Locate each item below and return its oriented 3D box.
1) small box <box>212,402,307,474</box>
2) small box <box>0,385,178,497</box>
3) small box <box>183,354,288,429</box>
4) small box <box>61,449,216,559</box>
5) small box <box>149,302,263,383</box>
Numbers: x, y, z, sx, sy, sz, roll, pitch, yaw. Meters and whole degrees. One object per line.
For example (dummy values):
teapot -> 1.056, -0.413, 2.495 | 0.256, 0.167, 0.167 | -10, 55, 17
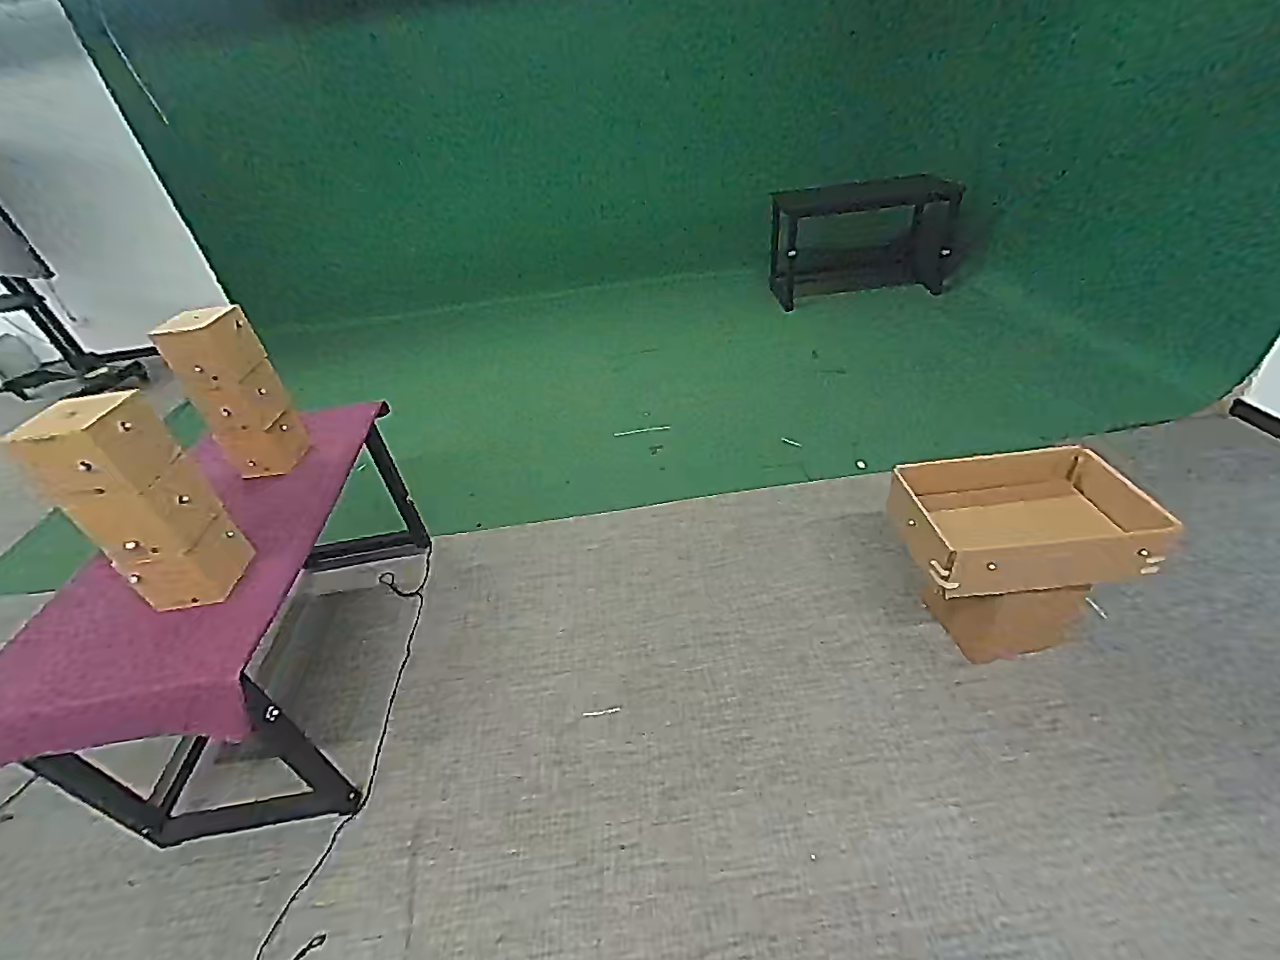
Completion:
small box -> -1.232, -0.138, 1.772 | 0.168, 0.176, 0.179 | -5, 39, 1
small box -> -1.142, -0.077, 1.141 | 0.168, 0.176, 0.179 | -7, 36, -2
small box -> -1.235, -0.267, 1.672 | 0.168, 0.176, 0.179 | -5, 39, 1
small box -> -1.124, 0.054, 1.237 | 0.168, 0.176, 0.179 | -9, 38, -2
small box -> -1.247, -0.400, 1.574 | 0.168, 0.176, 0.179 | -6, 39, 2
